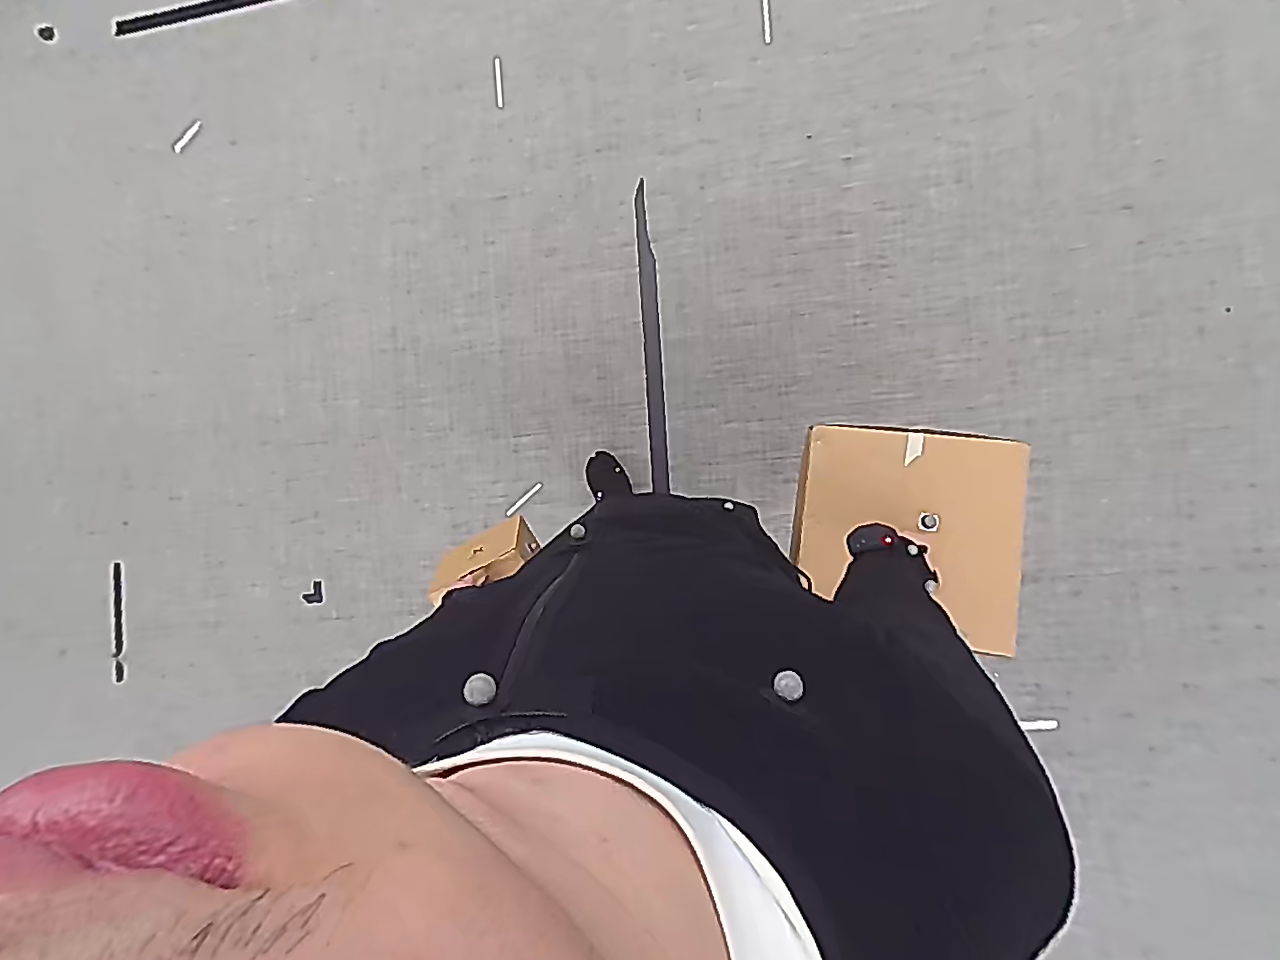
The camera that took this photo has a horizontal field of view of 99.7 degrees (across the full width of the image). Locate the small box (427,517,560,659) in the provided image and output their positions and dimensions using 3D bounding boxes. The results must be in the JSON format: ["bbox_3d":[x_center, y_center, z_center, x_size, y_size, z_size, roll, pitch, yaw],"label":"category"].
[{"bbox_3d":[-0.256,0.200,0.991,0.168,0.179,0.176,-28,107,-1],"label":"small box"}]
